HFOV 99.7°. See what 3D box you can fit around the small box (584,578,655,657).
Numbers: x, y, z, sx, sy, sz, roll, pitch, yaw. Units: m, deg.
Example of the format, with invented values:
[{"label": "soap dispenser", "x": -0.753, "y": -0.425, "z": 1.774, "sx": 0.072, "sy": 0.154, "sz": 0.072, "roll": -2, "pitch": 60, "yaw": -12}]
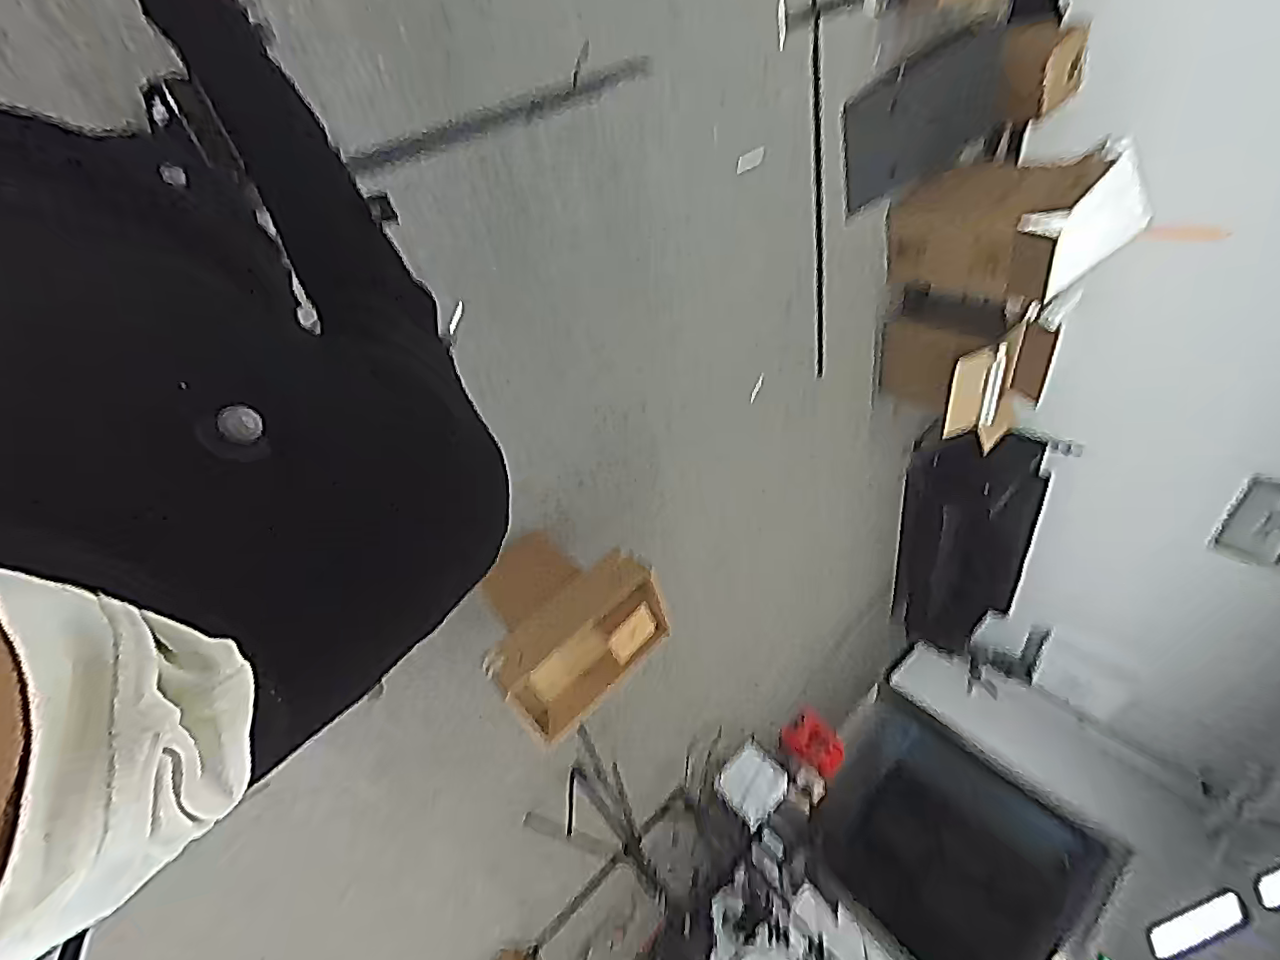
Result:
[{"label": "small box", "x": -0.078, "y": 0.484, "z": 1.921, "sx": 0.179, "sy": 0.176, "sz": 0.168, "roll": -42, "pitch": 137, "yaw": -19}]
